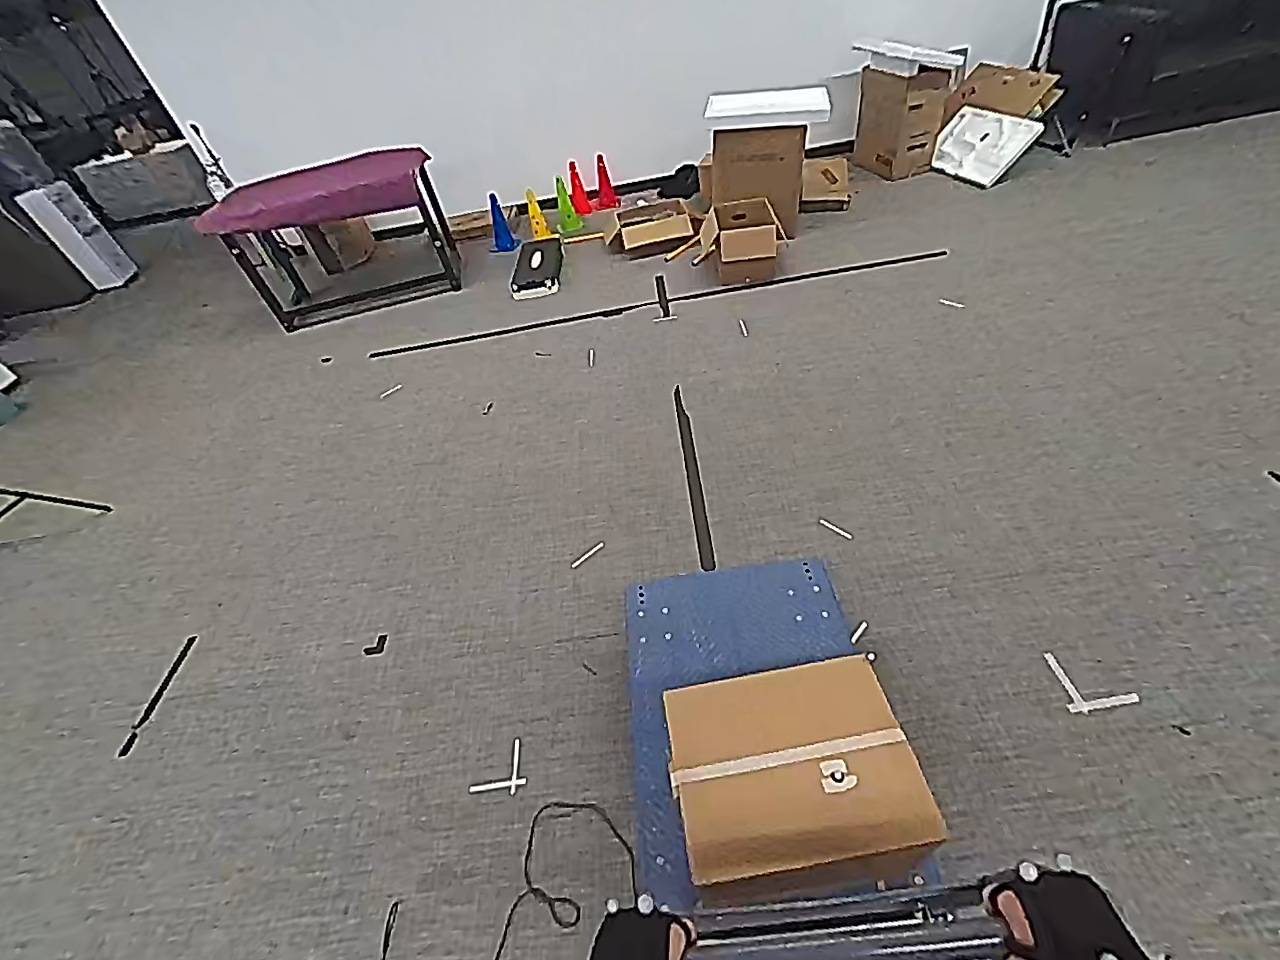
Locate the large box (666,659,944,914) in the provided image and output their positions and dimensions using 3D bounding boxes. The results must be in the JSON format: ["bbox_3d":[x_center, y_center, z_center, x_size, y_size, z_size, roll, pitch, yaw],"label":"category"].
[{"bbox_3d":[0.284,0.598,1.055,0.408,0.320,0.320,-11,45,0],"label":"large box"}]
